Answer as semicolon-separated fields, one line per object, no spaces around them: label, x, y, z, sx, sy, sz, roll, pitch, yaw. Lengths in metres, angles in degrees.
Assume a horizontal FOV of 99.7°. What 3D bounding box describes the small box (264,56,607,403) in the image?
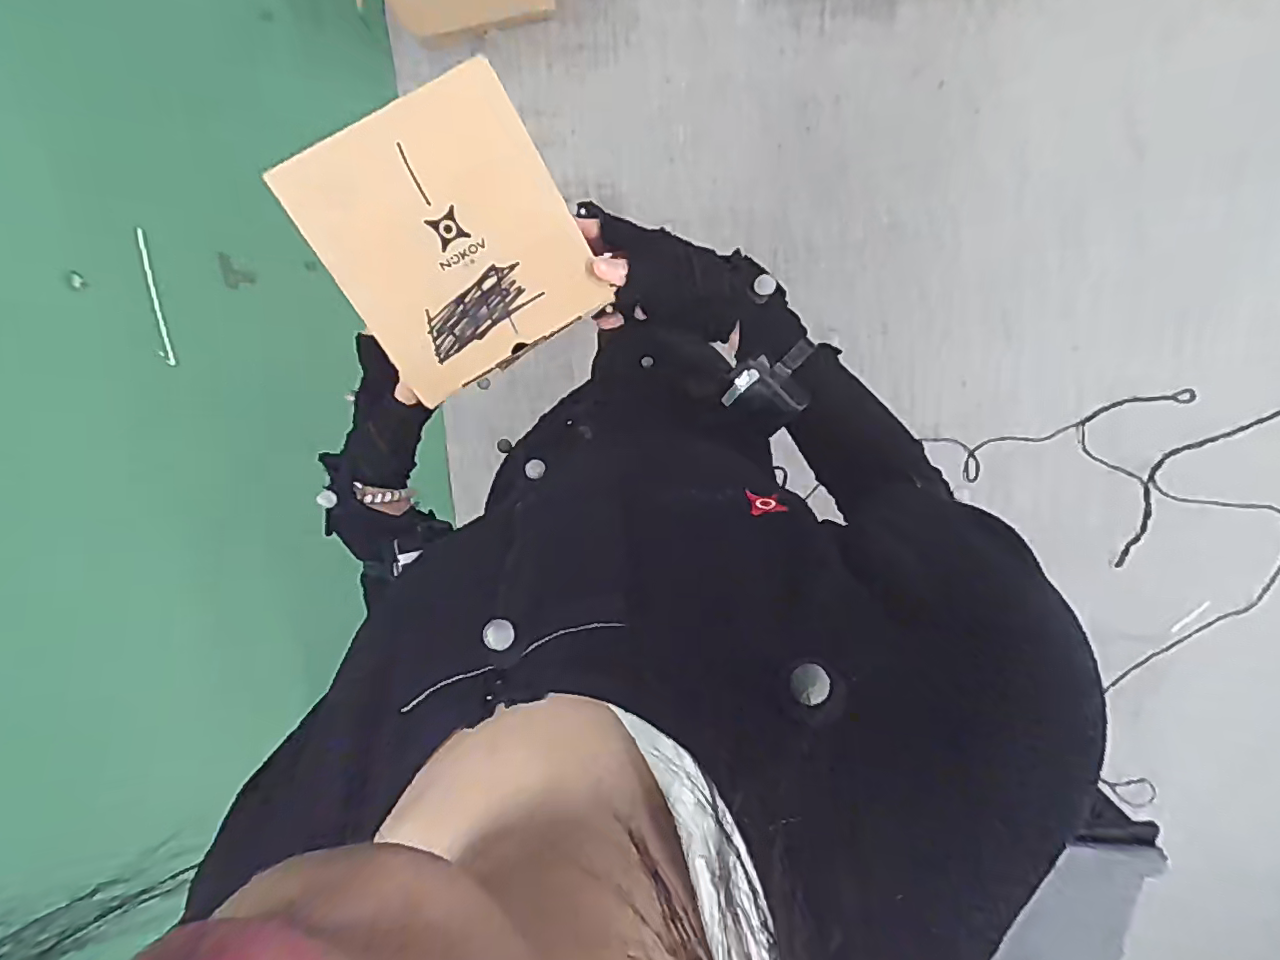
small box;-0.148;-0.187;0.451;0.168;0.176;0.179;-32;108;-3
